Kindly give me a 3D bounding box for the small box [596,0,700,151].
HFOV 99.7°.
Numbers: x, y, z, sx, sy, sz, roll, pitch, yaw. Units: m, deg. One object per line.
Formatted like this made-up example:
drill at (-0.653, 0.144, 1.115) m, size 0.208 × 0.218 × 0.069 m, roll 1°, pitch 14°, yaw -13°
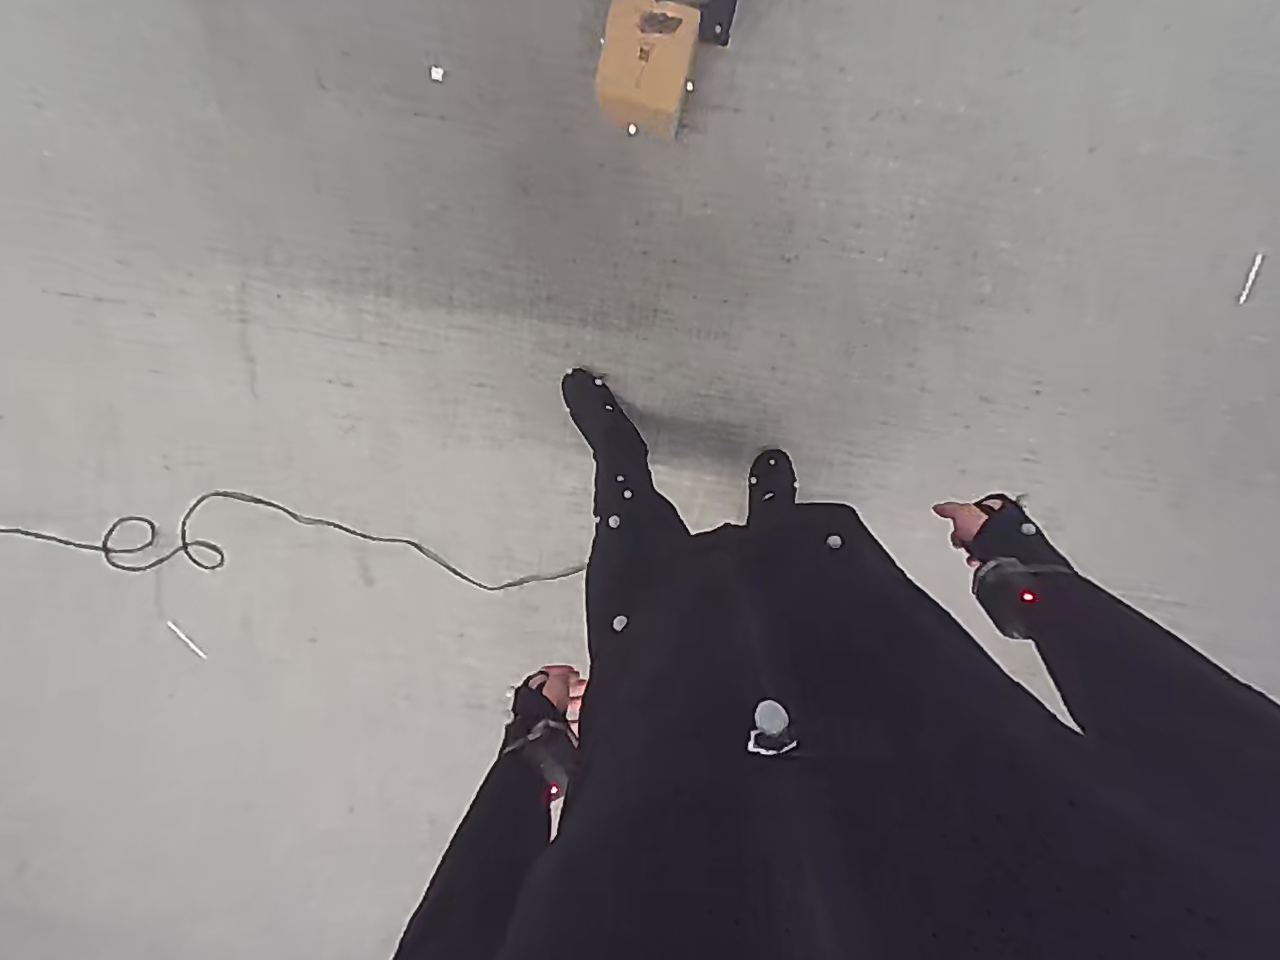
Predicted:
small box at (0.016, -0.808, 1.099) m, size 0.168 × 0.176 × 0.179 m, roll 14°, pitch 104°, yaw -1°
